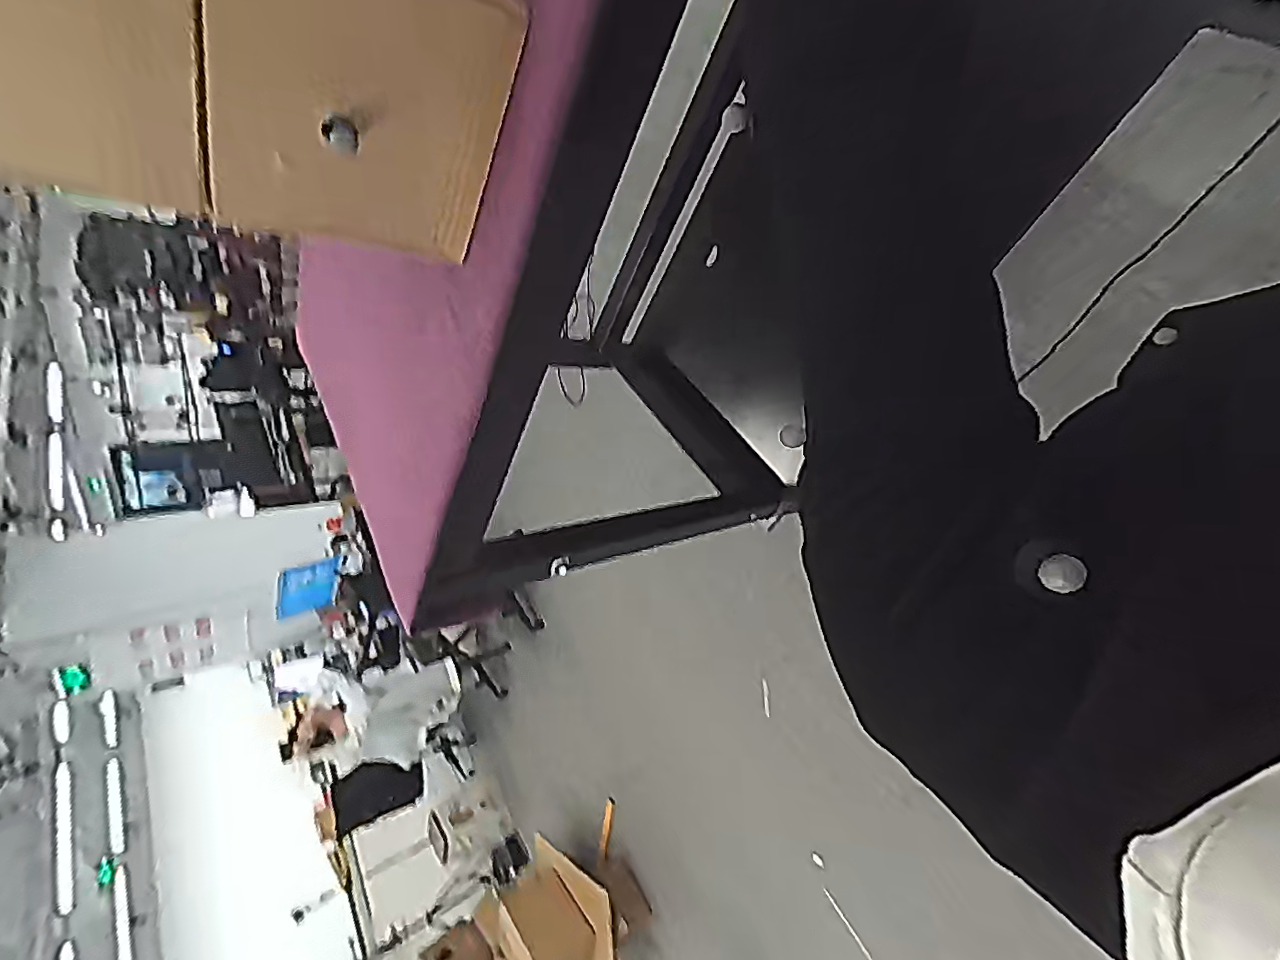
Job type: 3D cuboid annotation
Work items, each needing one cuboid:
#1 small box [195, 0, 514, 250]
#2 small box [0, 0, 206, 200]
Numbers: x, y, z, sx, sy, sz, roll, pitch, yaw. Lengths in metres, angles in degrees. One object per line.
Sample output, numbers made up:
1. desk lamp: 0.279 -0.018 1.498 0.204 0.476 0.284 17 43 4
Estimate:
1. small box: -0.207 -0.288 0.377 0.168 0.176 0.179 57 134 27
2. small box: -0.330 -0.276 0.271 0.168 0.176 0.179 58 133 26
